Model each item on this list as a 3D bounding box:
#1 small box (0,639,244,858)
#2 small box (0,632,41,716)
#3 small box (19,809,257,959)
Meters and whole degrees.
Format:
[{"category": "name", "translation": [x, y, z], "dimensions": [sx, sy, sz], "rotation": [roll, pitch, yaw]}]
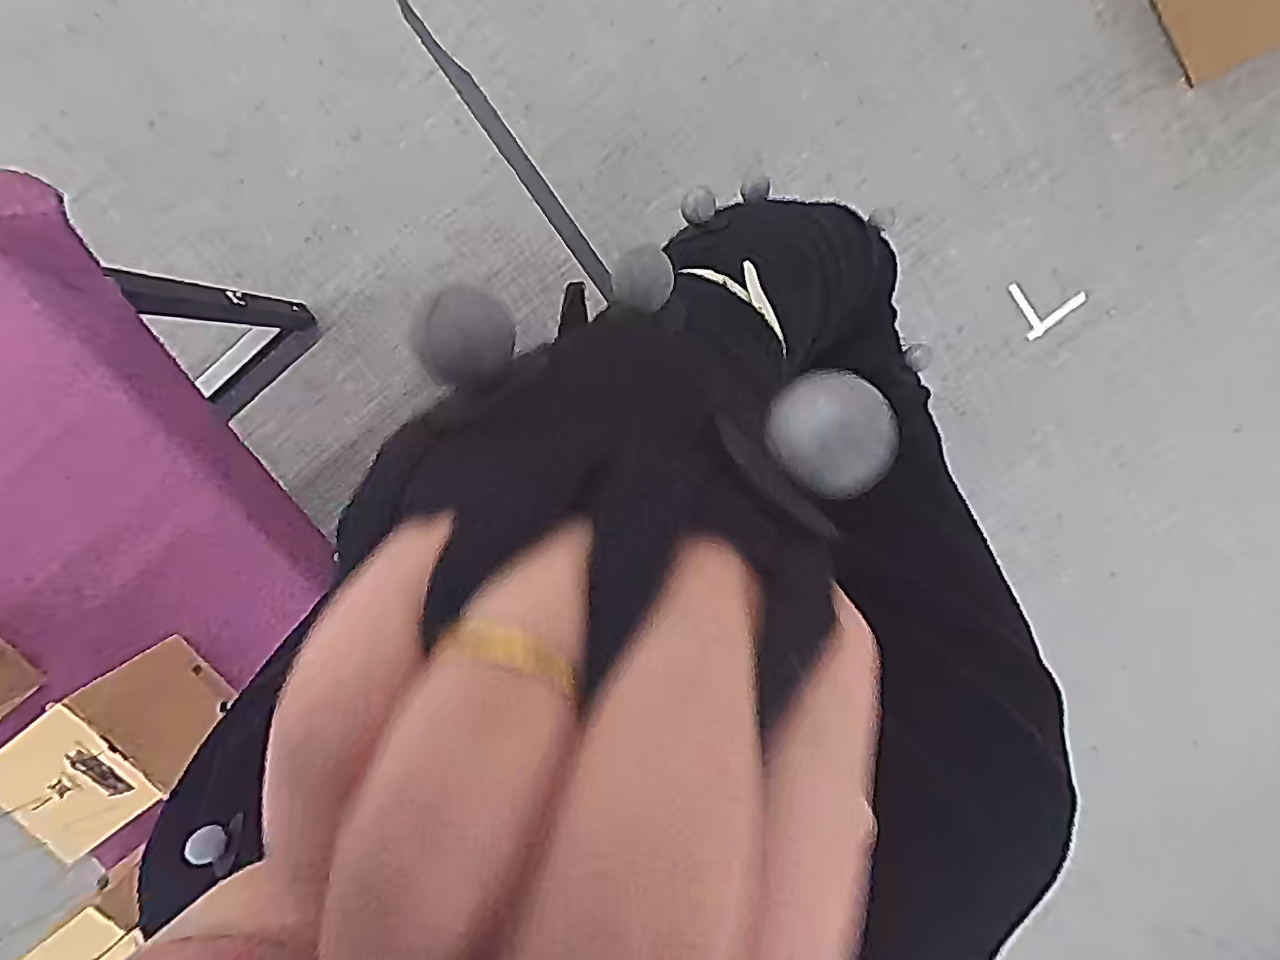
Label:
[{"category": "small box", "translation": [-0.700, 0.354, 0.744], "dimensions": [0.179, 0.176, 0.168], "rotation": [-36, 99, 7]}, {"category": "small box", "translation": [-1.001, 0.301, 0.728], "dimensions": [0.179, 0.176, 0.168], "rotation": [-37, 100, 5]}, {"category": "small box", "translation": [-0.719, 0.641, 0.800], "dimensions": [0.179, 0.176, 0.168], "rotation": [-38, 99, 4]}]
